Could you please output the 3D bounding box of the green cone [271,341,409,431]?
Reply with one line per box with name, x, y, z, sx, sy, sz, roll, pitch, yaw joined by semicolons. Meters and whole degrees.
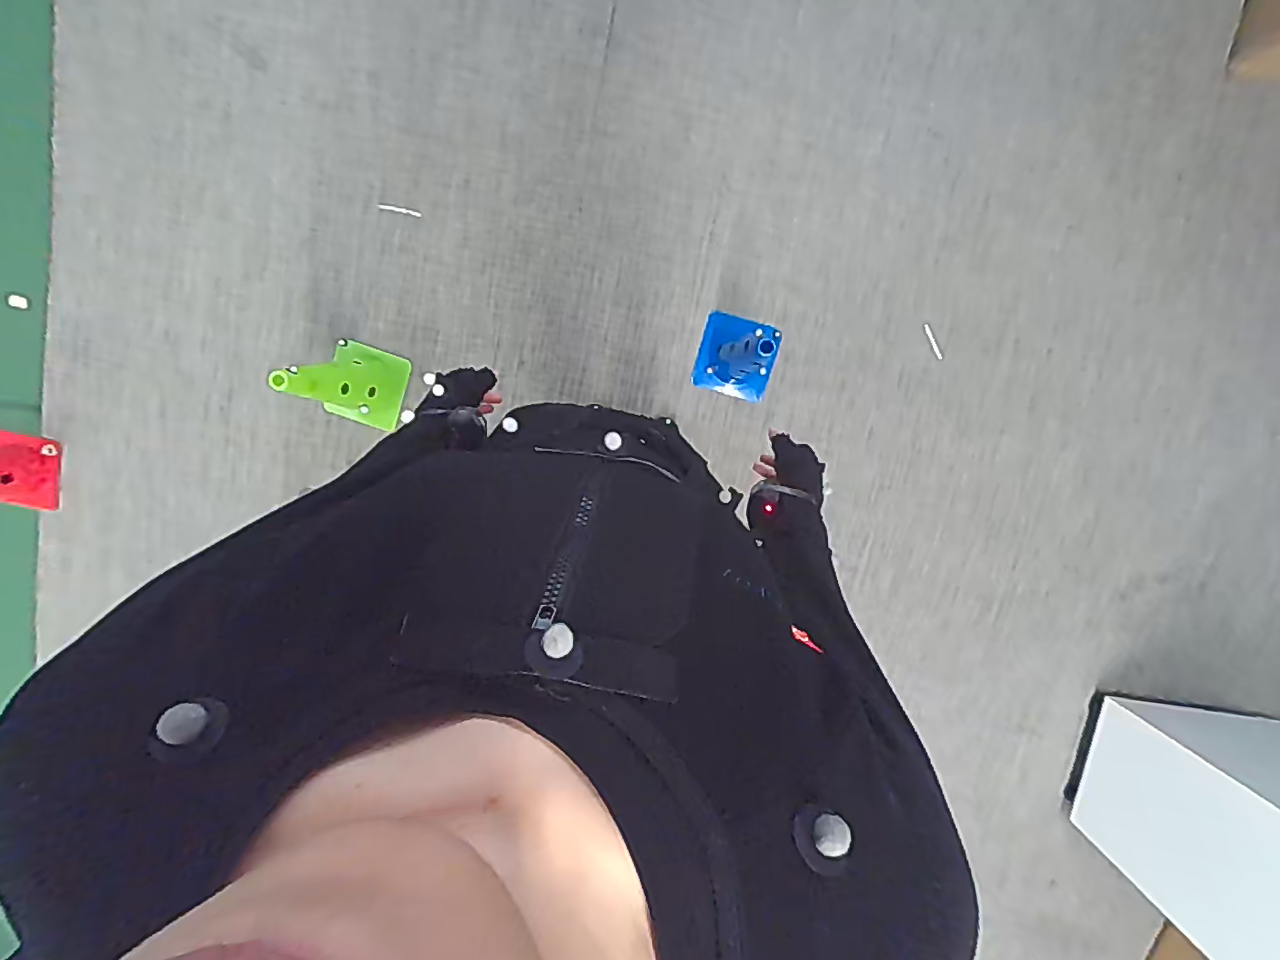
green cone;-0.727;-0.223;1.261;0.202;0.368;0.200;17;98;-2
